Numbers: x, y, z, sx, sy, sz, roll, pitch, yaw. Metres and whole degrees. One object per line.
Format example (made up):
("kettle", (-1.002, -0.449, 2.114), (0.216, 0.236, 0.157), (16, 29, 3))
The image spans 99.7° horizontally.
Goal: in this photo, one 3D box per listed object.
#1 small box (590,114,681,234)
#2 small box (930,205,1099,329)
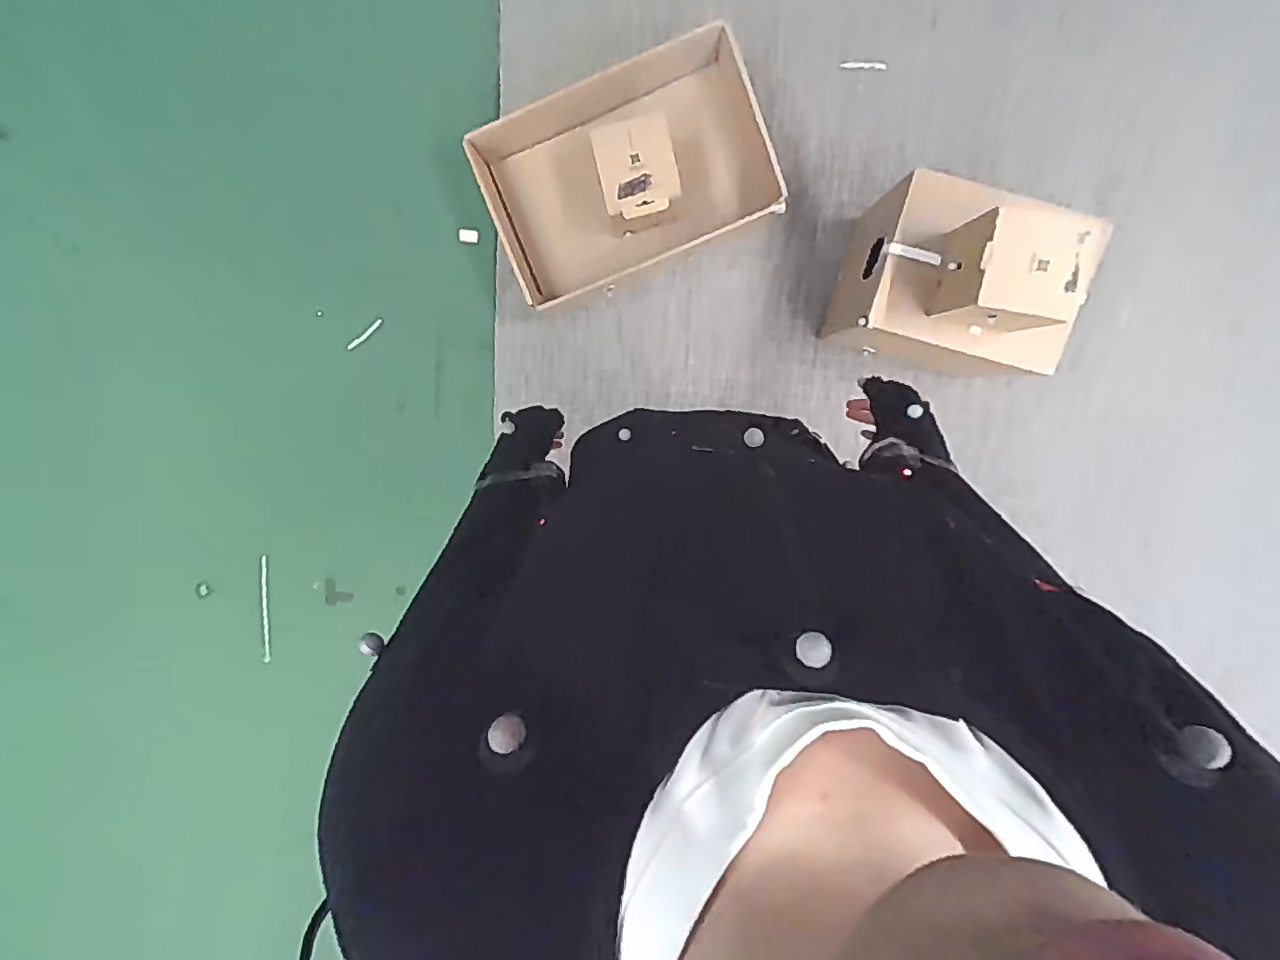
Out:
("small box", (-0.004, -0.679, 1.228), (0.168, 0.176, 0.179), (-13, 97, 4))
("small box", (0.667, -0.379, 0.990), (0.179, 0.176, 0.168), (10, 100, 1))
